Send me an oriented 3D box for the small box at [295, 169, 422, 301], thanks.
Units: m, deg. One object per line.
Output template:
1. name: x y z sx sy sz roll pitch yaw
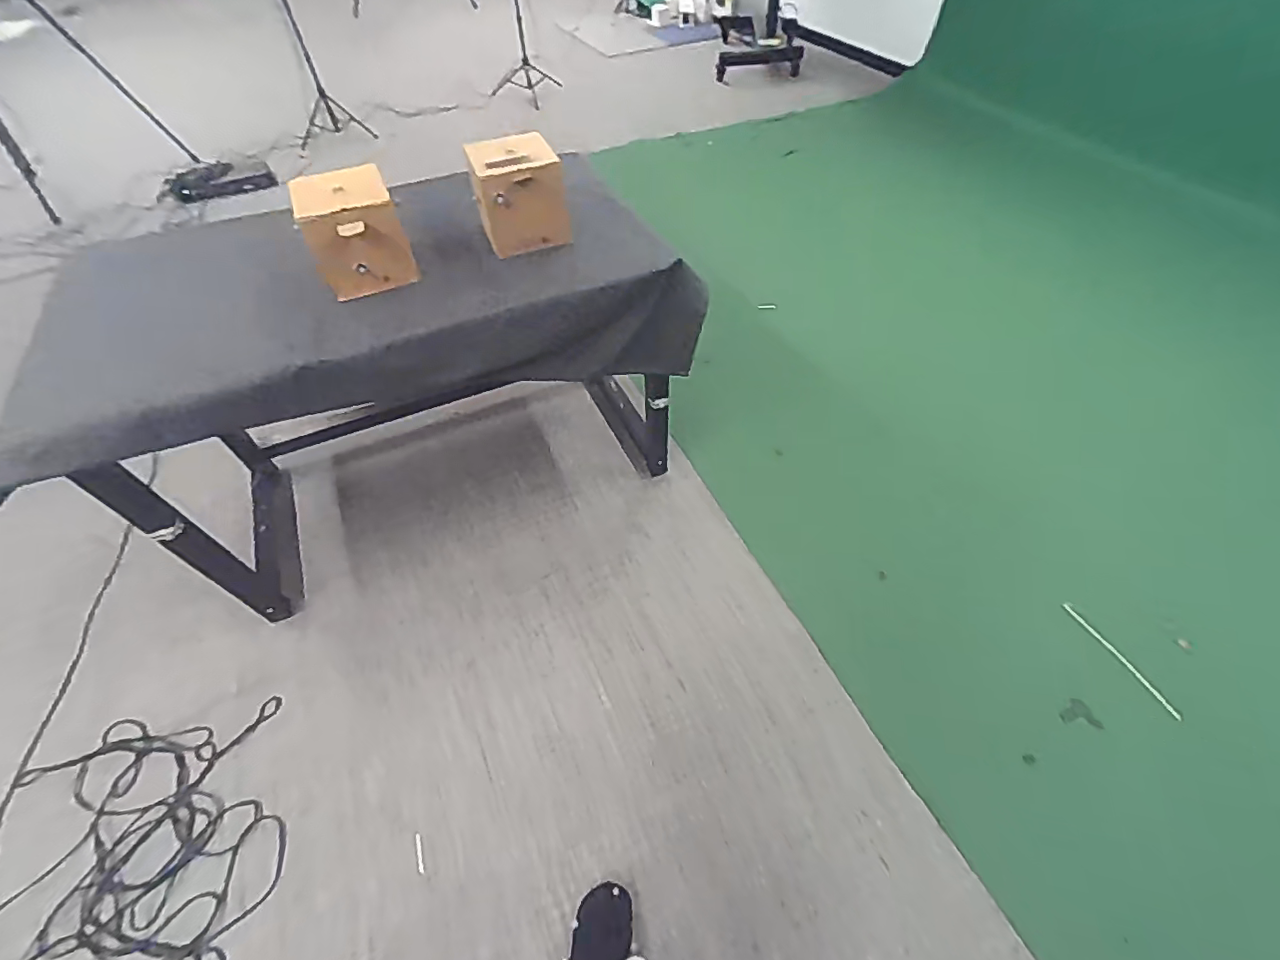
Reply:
1. small box: -0.555 -0.484 1.074 0.168 0.176 0.179 -21 54 -15
